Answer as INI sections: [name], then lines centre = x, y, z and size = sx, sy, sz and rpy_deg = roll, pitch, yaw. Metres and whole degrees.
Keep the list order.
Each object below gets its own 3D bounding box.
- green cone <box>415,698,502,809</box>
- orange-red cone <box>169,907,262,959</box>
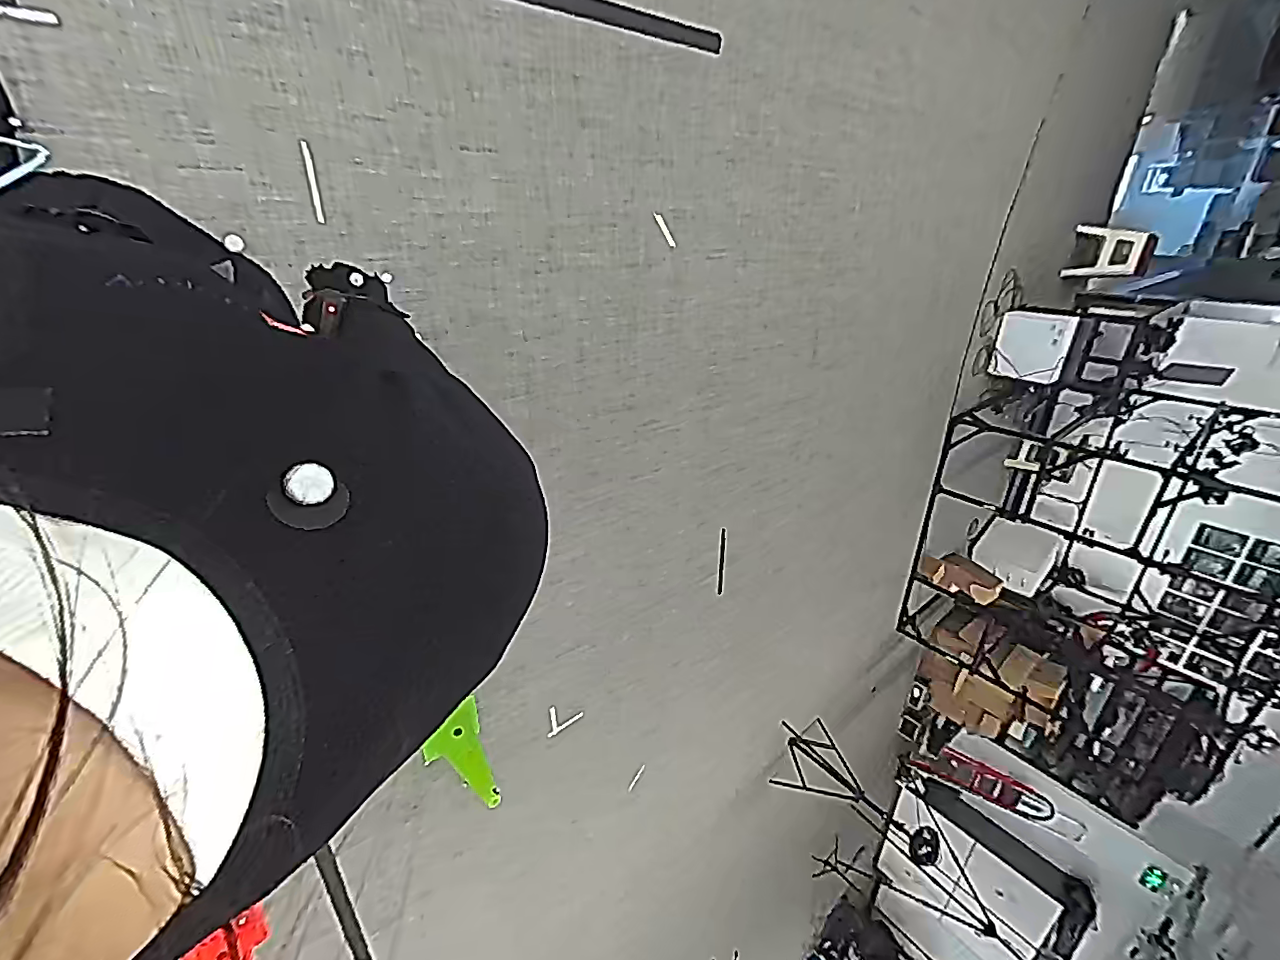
[green cone]
centre = -0.556, 0.927, 1.755
size = 0.202, 0.368, 0.200
rpy_deg = -20, 122, -37
[orange-red cone]
centre = -1.132, 1.426, 1.467
size = 0.199, 0.360, 0.198
rpy_deg = -13, 117, -37
